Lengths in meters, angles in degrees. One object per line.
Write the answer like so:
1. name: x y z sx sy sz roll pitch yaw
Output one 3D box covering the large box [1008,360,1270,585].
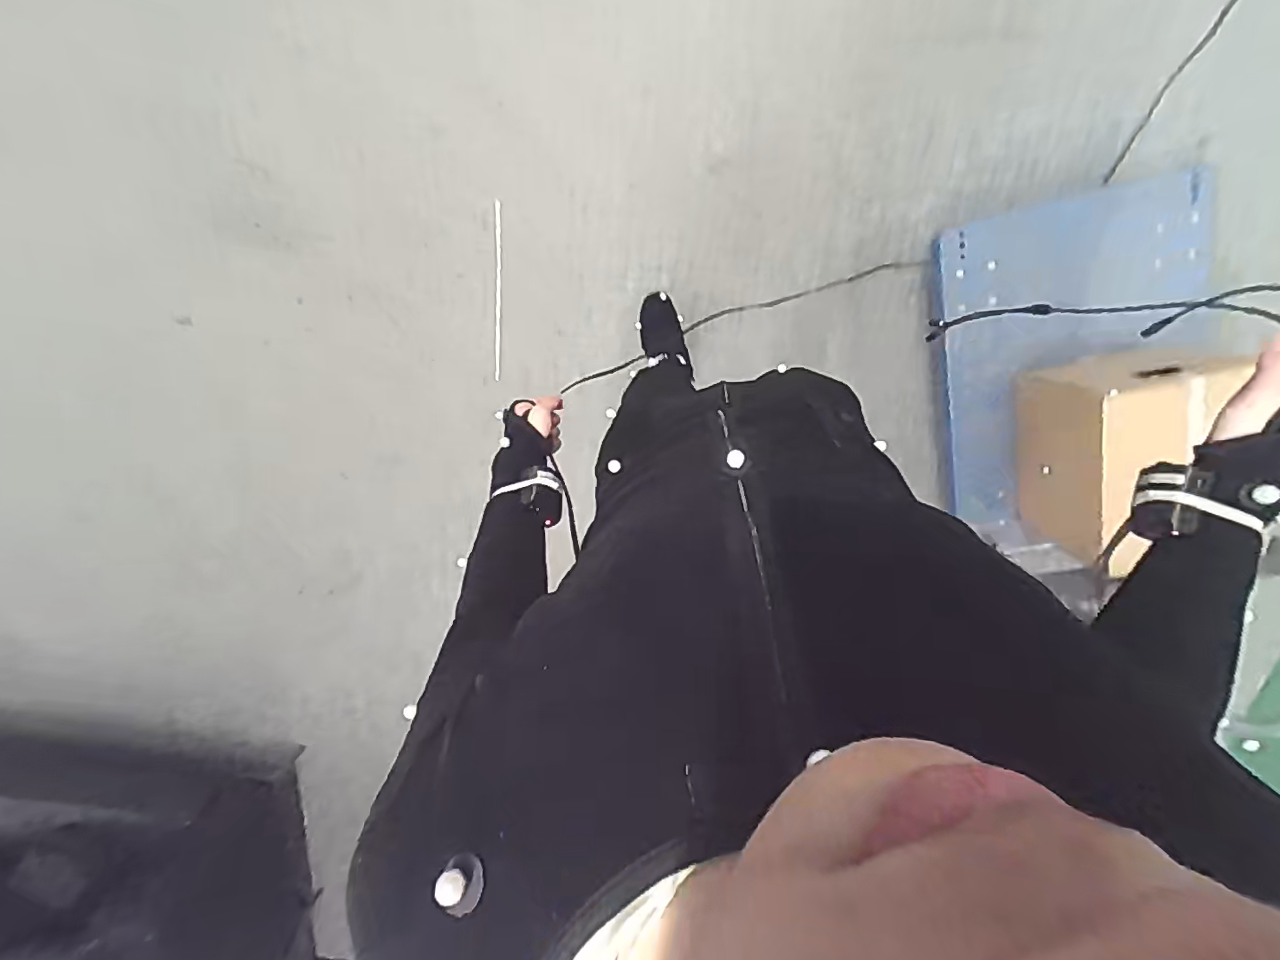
1. large box: 1.079 -0.031 1.215 0.320 0.320 0.408 -11 106 8
